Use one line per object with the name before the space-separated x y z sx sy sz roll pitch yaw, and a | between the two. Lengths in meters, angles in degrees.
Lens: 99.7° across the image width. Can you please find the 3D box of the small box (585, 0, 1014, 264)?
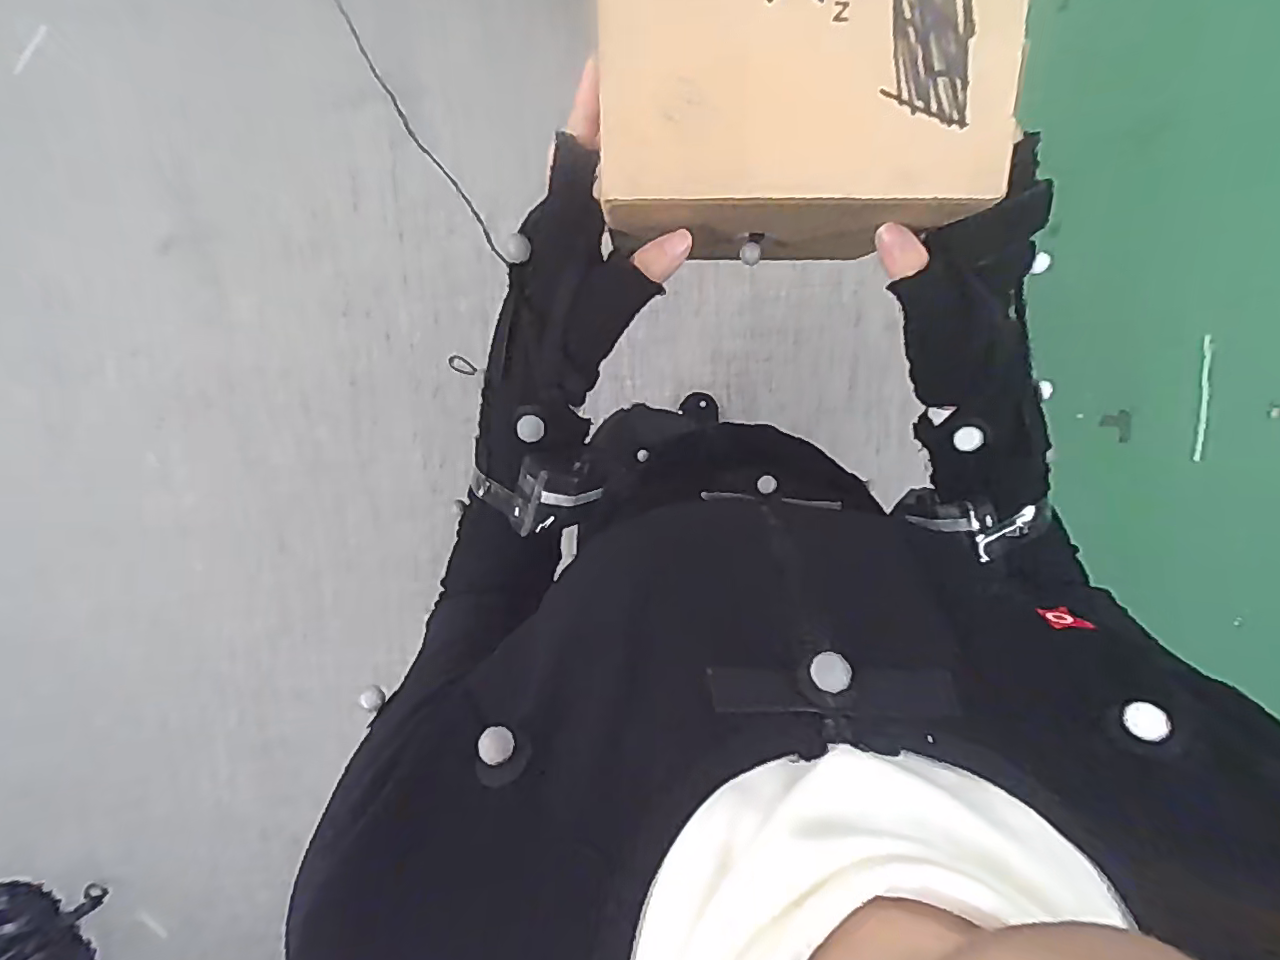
small box | 0.064 -0.219 0.292 0.179 0.176 0.168 1 103 0
